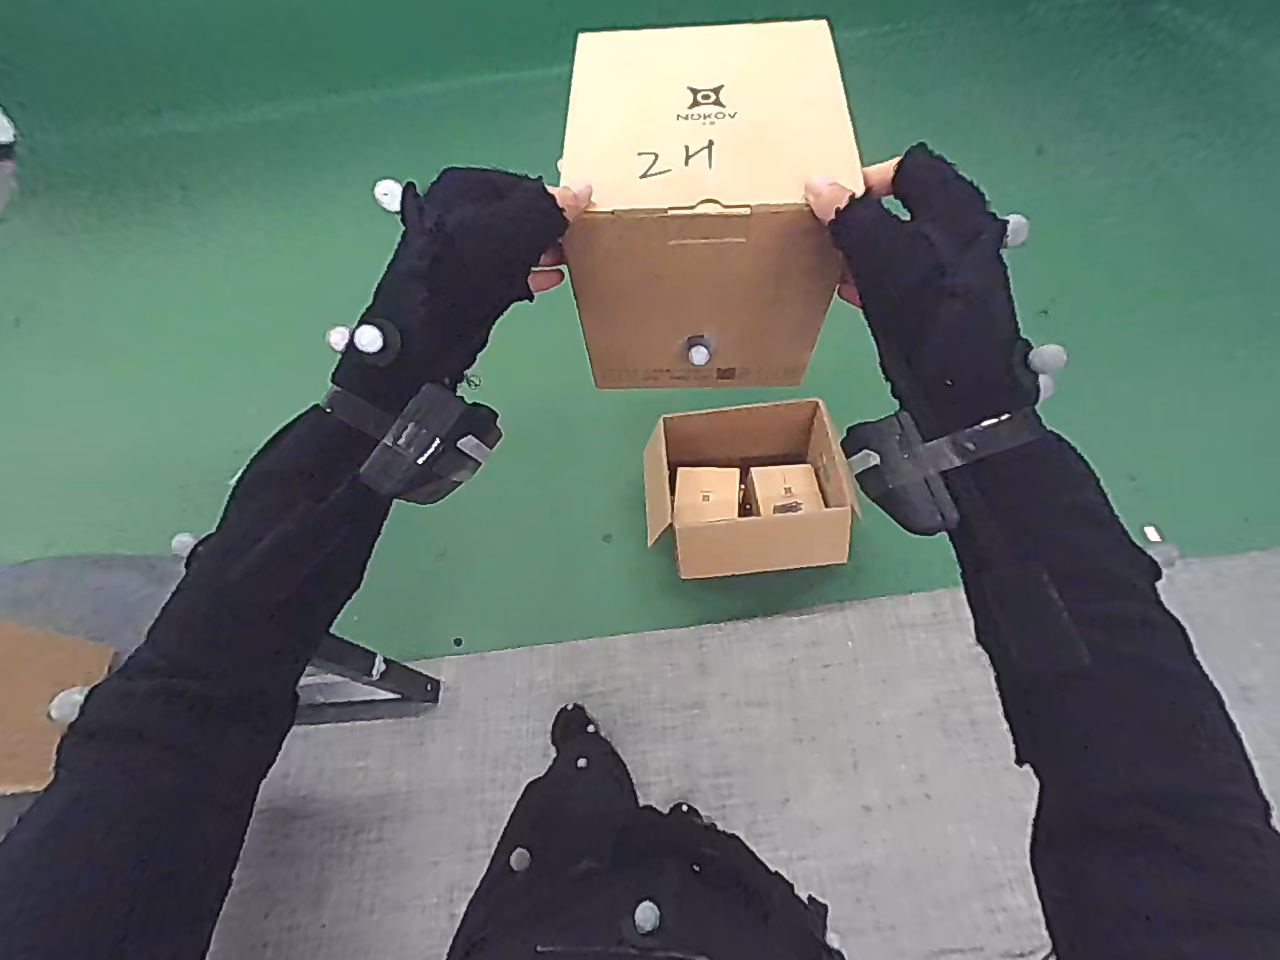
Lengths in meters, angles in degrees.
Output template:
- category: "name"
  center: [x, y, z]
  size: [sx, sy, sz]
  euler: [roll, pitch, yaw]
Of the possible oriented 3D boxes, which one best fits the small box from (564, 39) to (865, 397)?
- category: "small box"
  center: [0.047, -0.183, 0.399]
  size: [0.168, 0.176, 0.179]
  euler: [1, 64, 4]
